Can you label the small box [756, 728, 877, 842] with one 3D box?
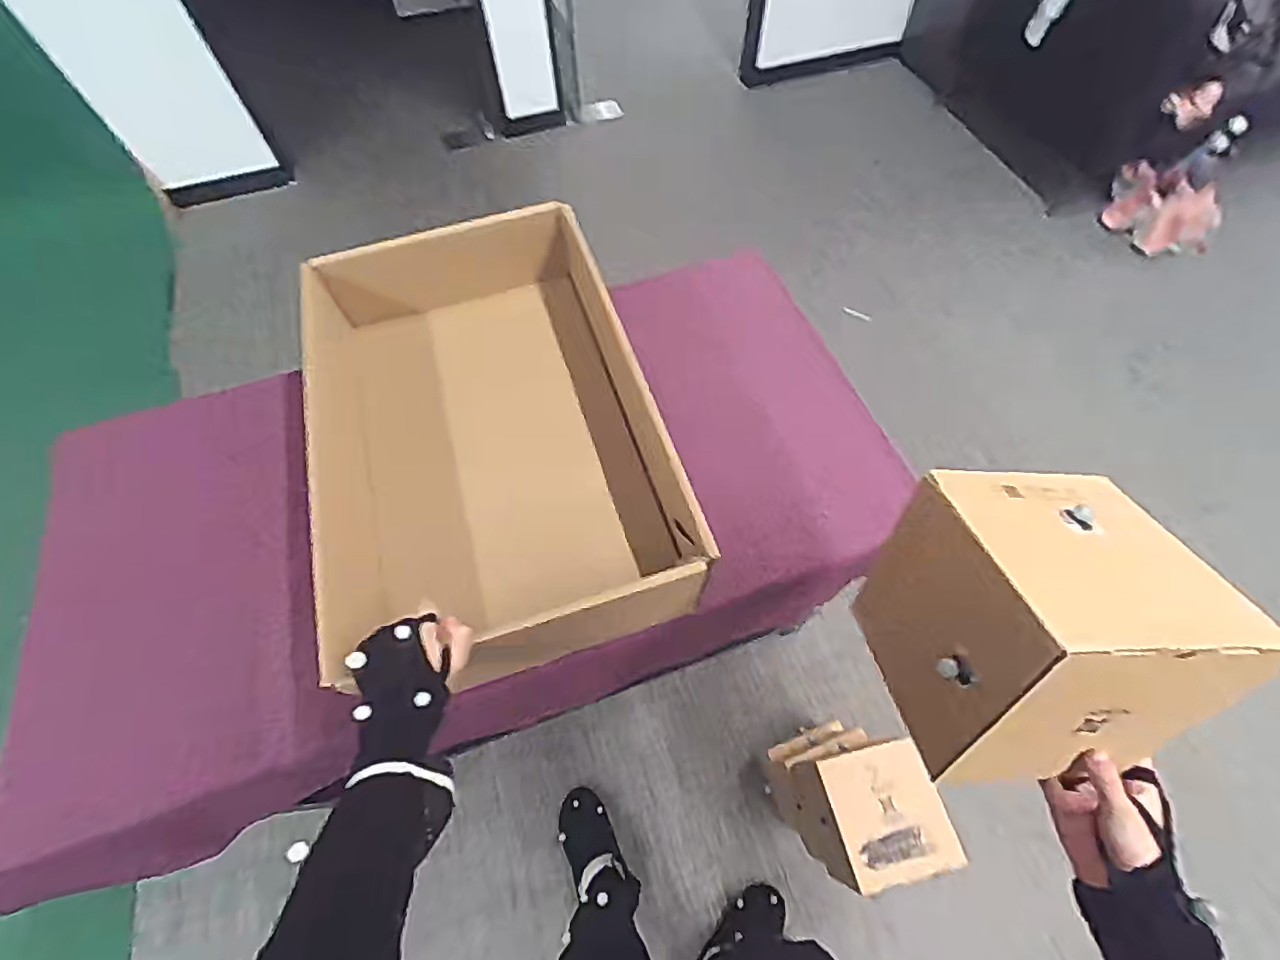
[{"bbox_3d":[0.375,0.659,1.185,0.179,0.176,0.168,-19,63,-8],"label":"small box"}]
